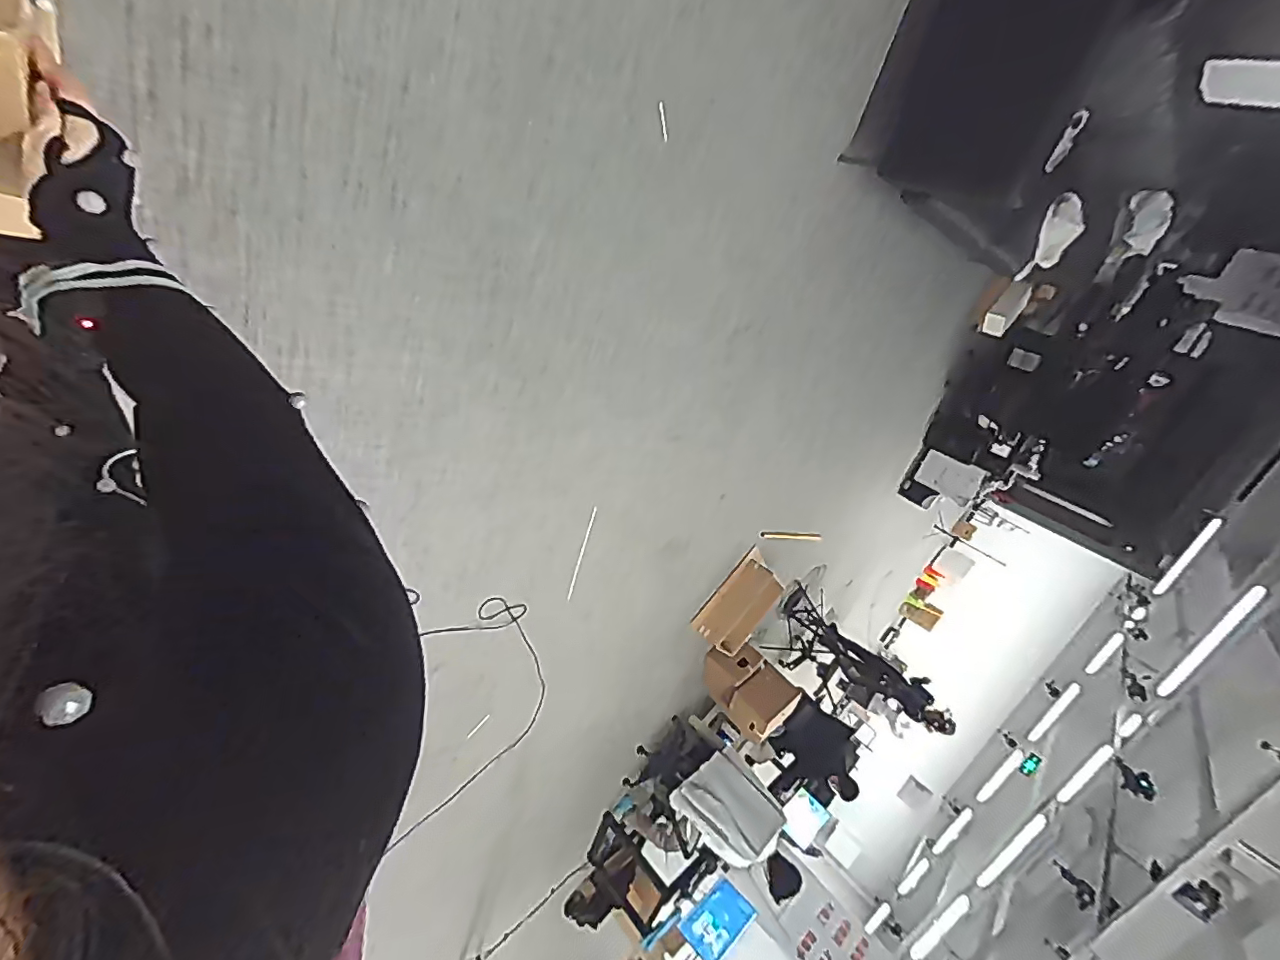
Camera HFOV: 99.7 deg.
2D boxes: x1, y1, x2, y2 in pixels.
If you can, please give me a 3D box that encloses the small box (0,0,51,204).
[{"bbox_3d":[-0.524,-0.329,0.363,0.168,0.179,0.176,0,162,-45],"label":"small box"}]
